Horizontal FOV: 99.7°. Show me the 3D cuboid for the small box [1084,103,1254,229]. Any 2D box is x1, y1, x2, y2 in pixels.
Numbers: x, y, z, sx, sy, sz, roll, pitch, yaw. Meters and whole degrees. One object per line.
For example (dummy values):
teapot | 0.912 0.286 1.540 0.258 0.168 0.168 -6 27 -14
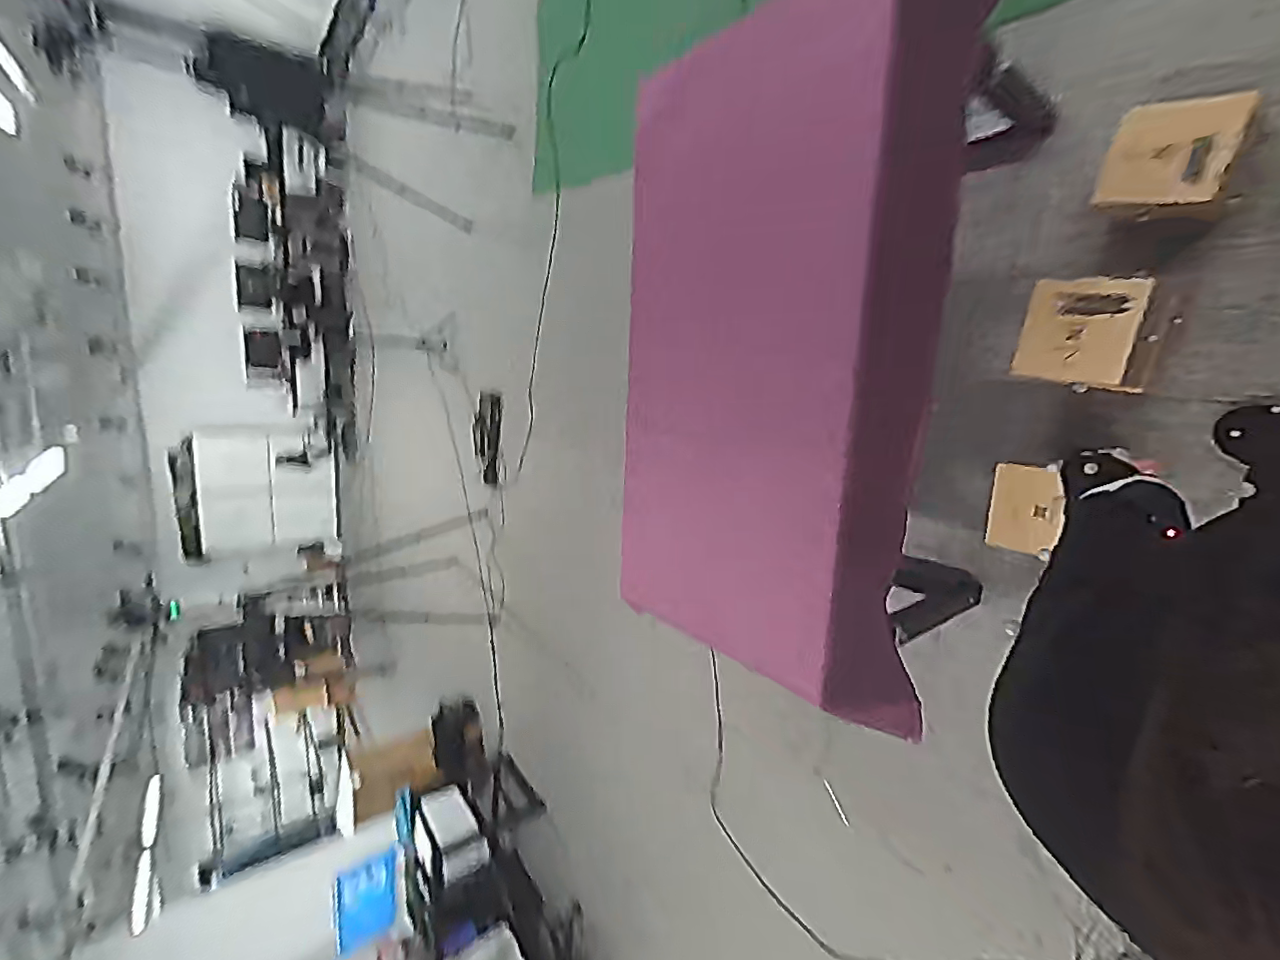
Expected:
small box | 1.002 -0.582 1.024 0.179 0.176 0.168 31 117 47
